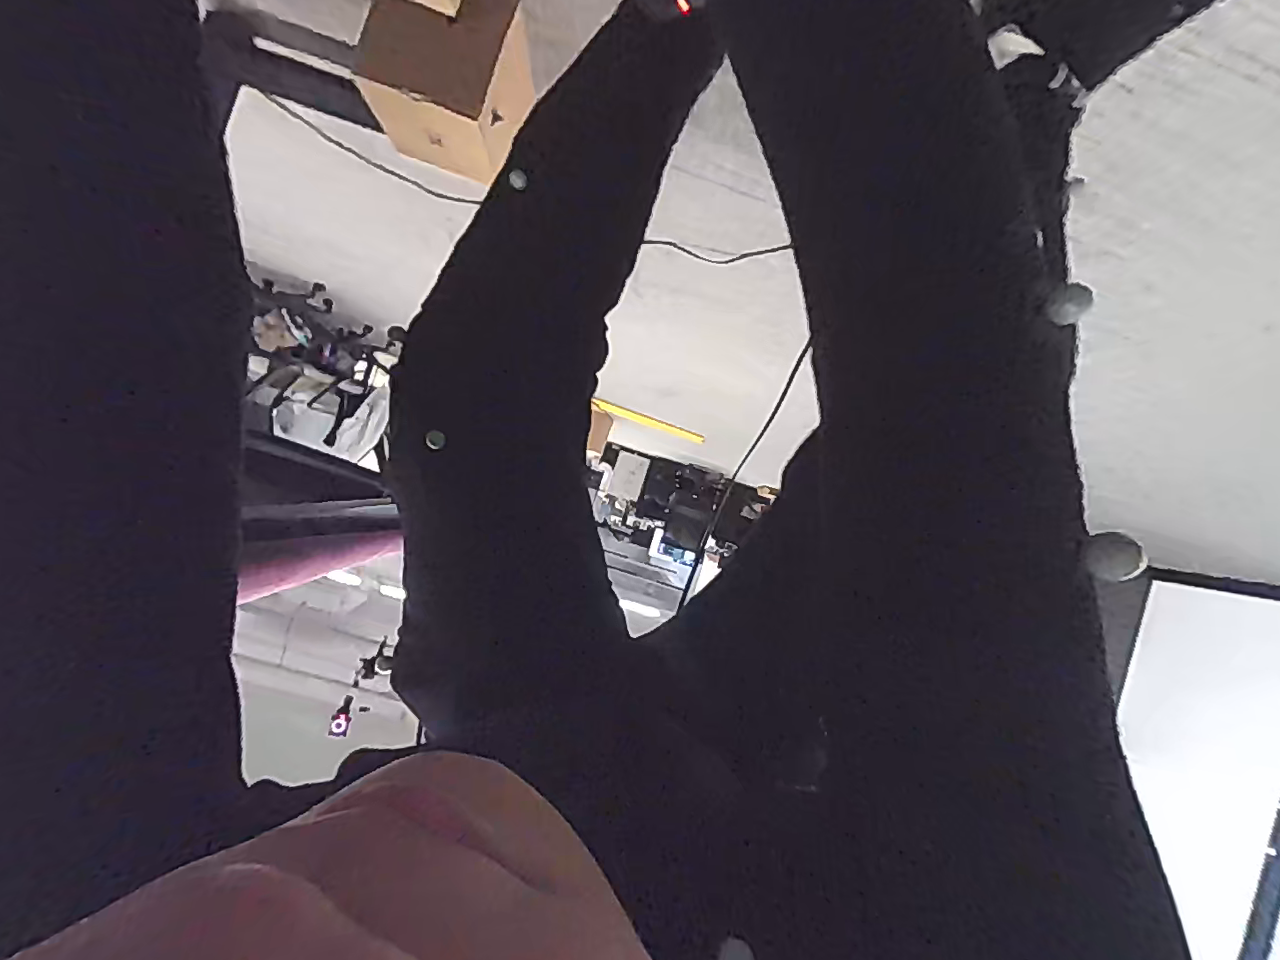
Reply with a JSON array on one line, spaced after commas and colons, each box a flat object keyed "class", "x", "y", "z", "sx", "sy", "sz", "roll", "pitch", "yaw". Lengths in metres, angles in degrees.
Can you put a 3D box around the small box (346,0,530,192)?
[{"class": "small box", "x": -0.261, "y": -0.547, "z": 0.745, "sx": 0.168, "sy": 0.176, "sz": 0.179, "roll": 18, "pitch": 178, "yaw": -4}]
